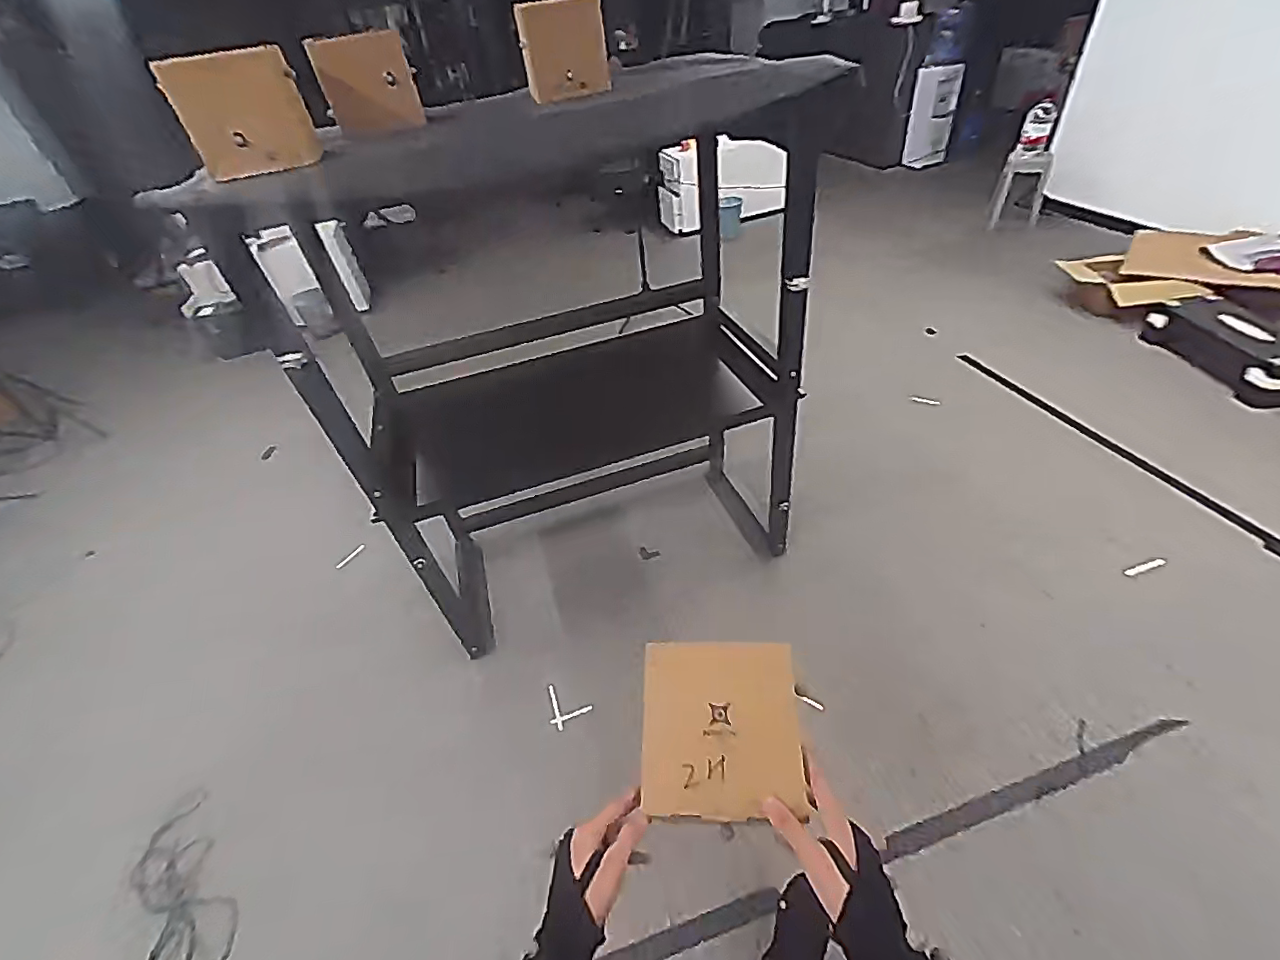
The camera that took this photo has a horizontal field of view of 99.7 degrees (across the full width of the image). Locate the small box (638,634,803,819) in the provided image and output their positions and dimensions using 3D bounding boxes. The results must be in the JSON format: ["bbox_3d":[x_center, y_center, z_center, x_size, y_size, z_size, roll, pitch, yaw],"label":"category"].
[{"bbox_3d":[0.094,0.296,0.647,0.168,0.176,0.179,-4,56,9],"label":"small box"}]

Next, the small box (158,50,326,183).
[{"bbox_3d":[-0.676,-0.635,0.947,0.168,0.176,0.179,-18,42,-11],"label":"small box"}]

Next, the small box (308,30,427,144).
[{"bbox_3d":[-0.564,-0.833,1.144,0.179,0.176,0.168,-18,43,-12],"label":"small box"}]
